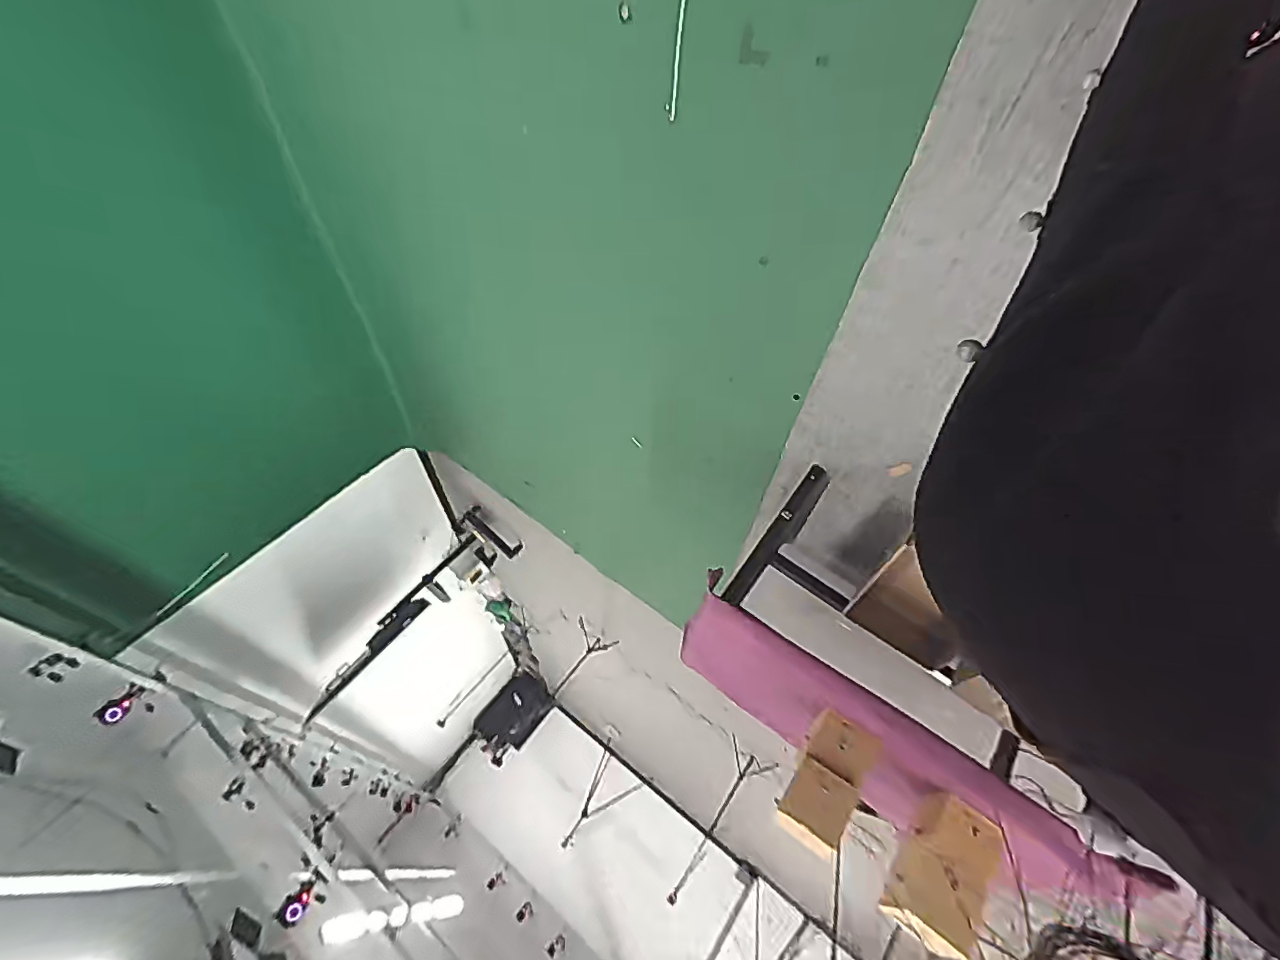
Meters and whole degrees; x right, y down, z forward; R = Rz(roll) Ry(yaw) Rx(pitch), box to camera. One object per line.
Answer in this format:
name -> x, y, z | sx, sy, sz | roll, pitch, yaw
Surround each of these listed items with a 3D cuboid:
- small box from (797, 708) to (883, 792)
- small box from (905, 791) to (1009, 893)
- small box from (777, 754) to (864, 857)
small box -> 0.596, 0.810, 1.607 | 0.168, 0.176, 0.179 | 32, 149, 21
small box -> 0.879, 0.995, 1.498 | 0.168, 0.176, 0.179 | 35, 149, 17
small box -> 0.502, 0.905, 1.507 | 0.168, 0.176, 0.179 | 27, 147, 26
